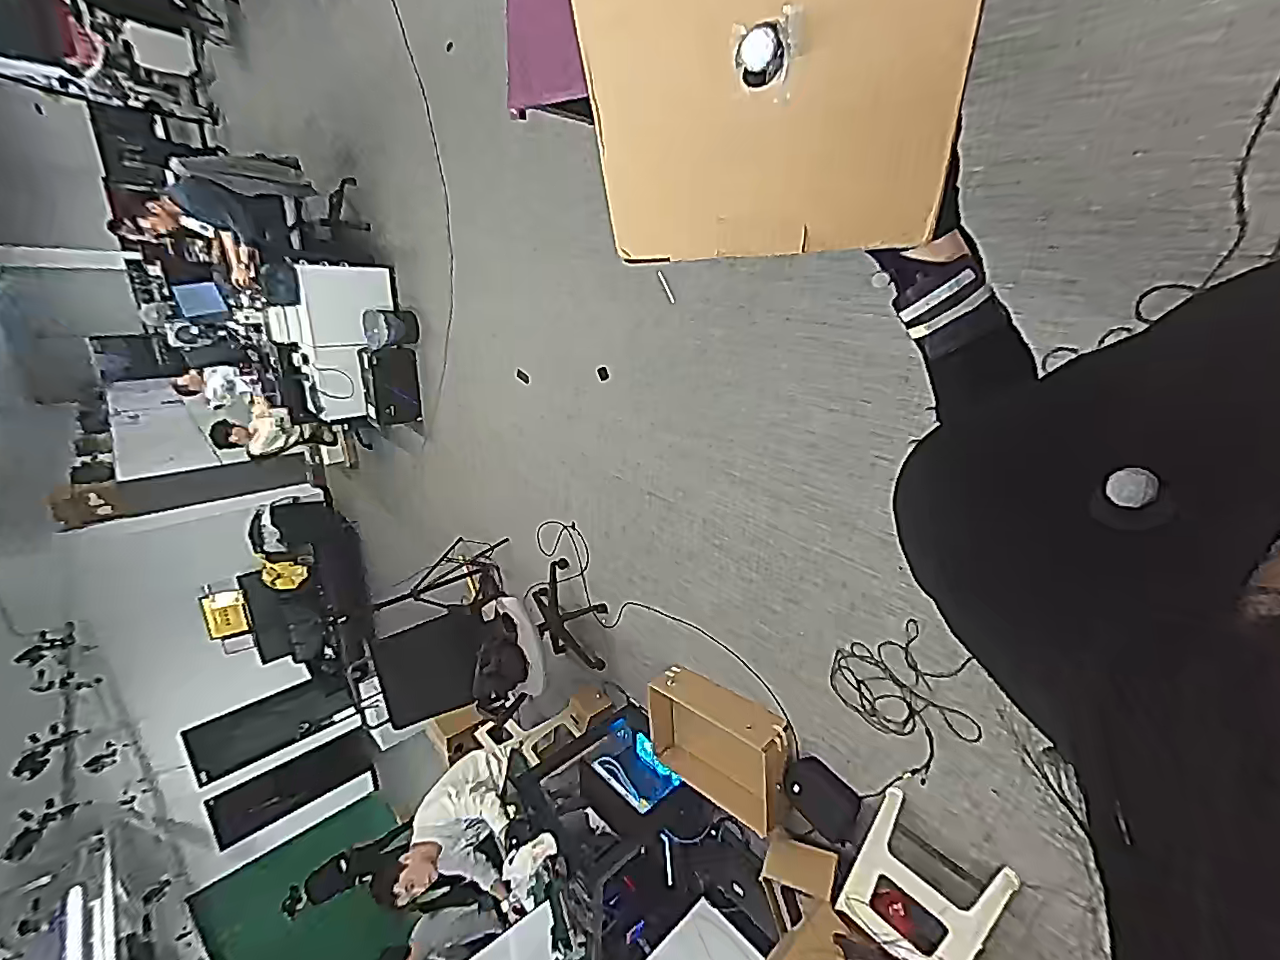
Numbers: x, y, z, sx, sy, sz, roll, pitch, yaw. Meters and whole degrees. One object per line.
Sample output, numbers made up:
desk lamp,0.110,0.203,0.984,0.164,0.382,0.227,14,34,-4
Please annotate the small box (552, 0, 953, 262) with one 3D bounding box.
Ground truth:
small box,0.062,-0.237,0.283,0.168,0.179,0.176,5,136,18
